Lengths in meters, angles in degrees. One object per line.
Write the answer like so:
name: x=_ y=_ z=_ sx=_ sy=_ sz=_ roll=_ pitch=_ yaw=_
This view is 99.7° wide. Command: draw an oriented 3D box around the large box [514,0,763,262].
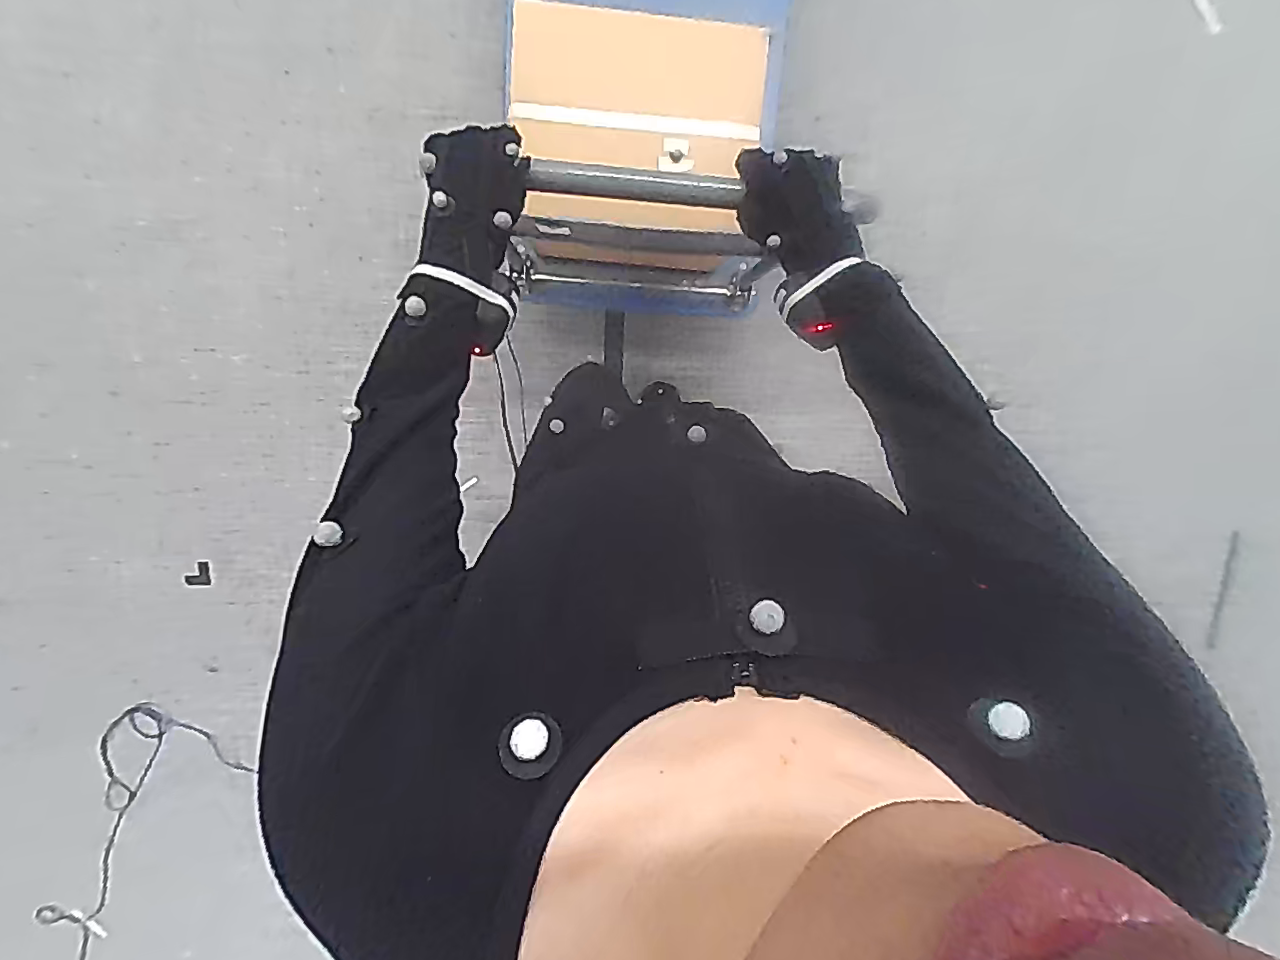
large box: x=-0.017 y=-0.619 z=1.030 sx=0.408 sy=0.320 sz=0.320 roll=3 pitch=101 yaw=-5
